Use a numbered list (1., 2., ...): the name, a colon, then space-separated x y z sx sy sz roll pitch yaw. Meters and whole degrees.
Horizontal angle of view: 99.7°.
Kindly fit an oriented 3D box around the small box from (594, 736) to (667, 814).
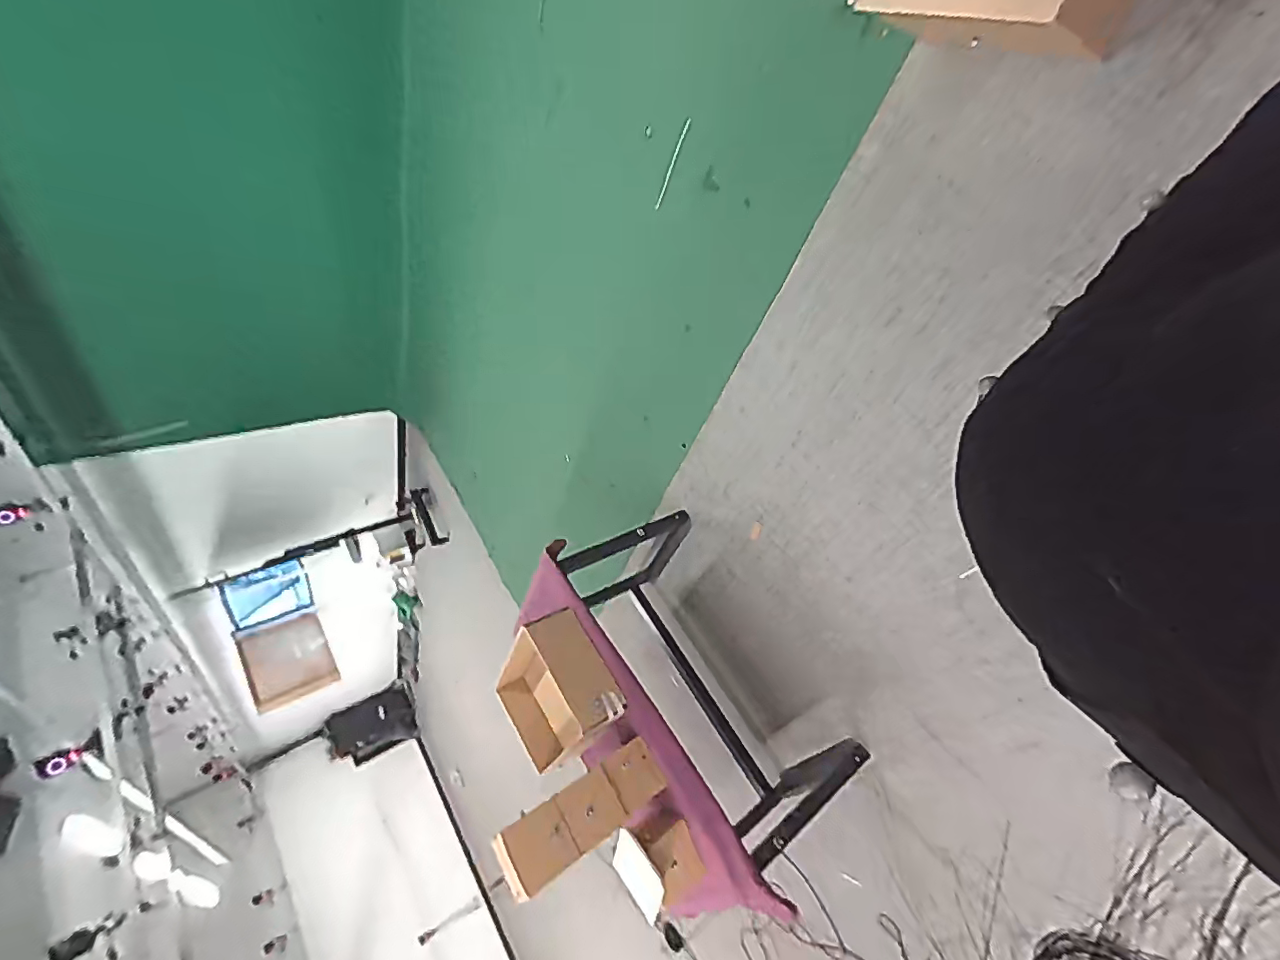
1. small box: -0.038 0.944 1.714 0.168 0.176 0.179 55 142 23

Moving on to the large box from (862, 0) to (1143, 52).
1. large box: 0.717 -1.023 0.999 0.408 0.320 0.320 43 135 35

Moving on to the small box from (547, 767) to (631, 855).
1. small box: -0.157 0.983 1.609 0.179 0.176 0.168 54 142 23

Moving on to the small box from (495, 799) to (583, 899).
1. small box: -0.284 1.024 1.514 0.179 0.176 0.168 55 142 24
